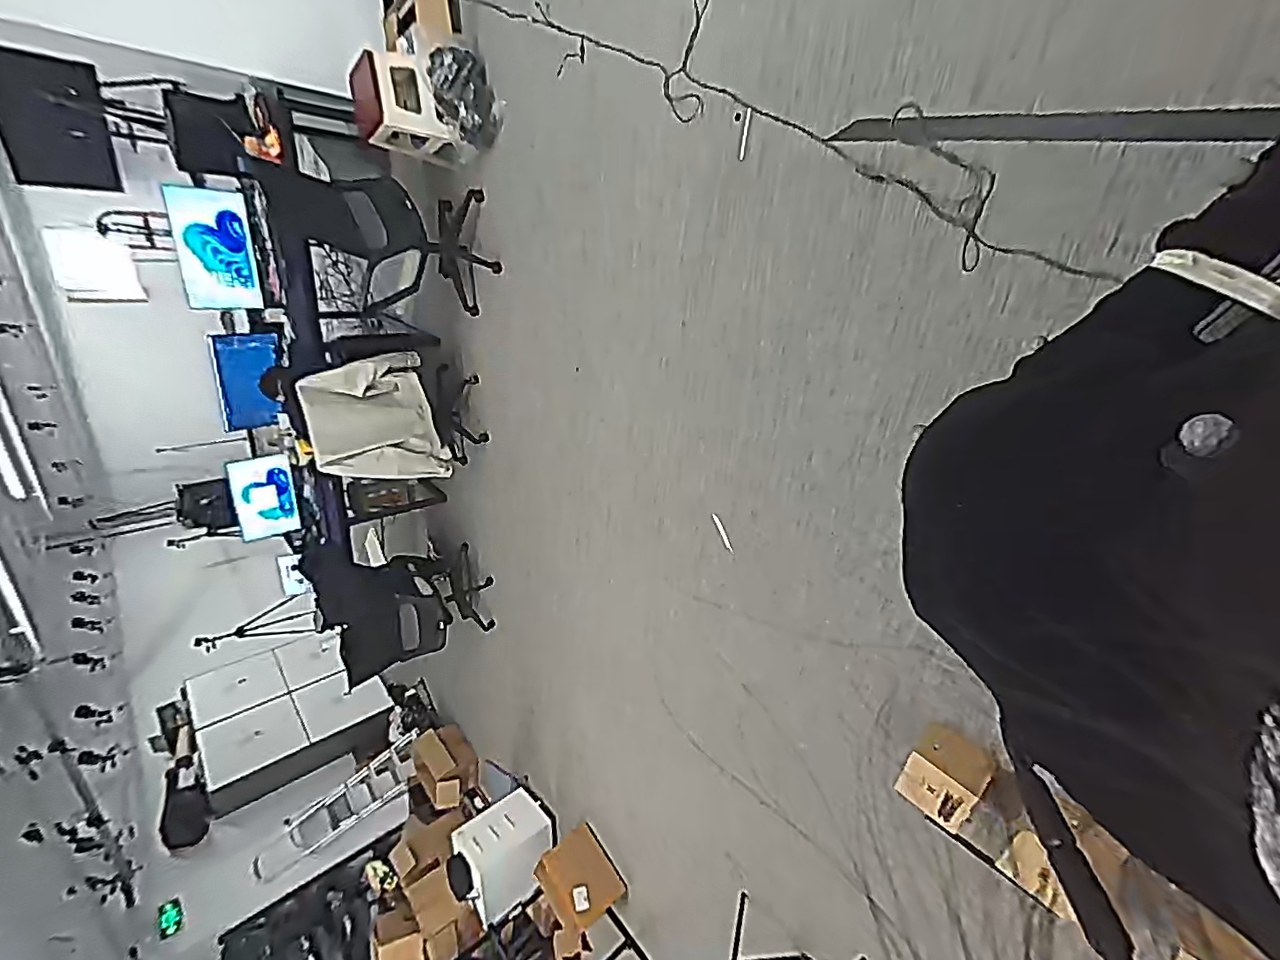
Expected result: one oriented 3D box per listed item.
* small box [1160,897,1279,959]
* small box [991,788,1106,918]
[{"bbox_3d":[1.262,1.068,1.168,0.179,0.176,0.168,15,113,44],"label":"small box"},{"bbox_3d":[1.038,0.938,1.371,0.168,0.176,0.179,32,125,37],"label":"small box"}]
